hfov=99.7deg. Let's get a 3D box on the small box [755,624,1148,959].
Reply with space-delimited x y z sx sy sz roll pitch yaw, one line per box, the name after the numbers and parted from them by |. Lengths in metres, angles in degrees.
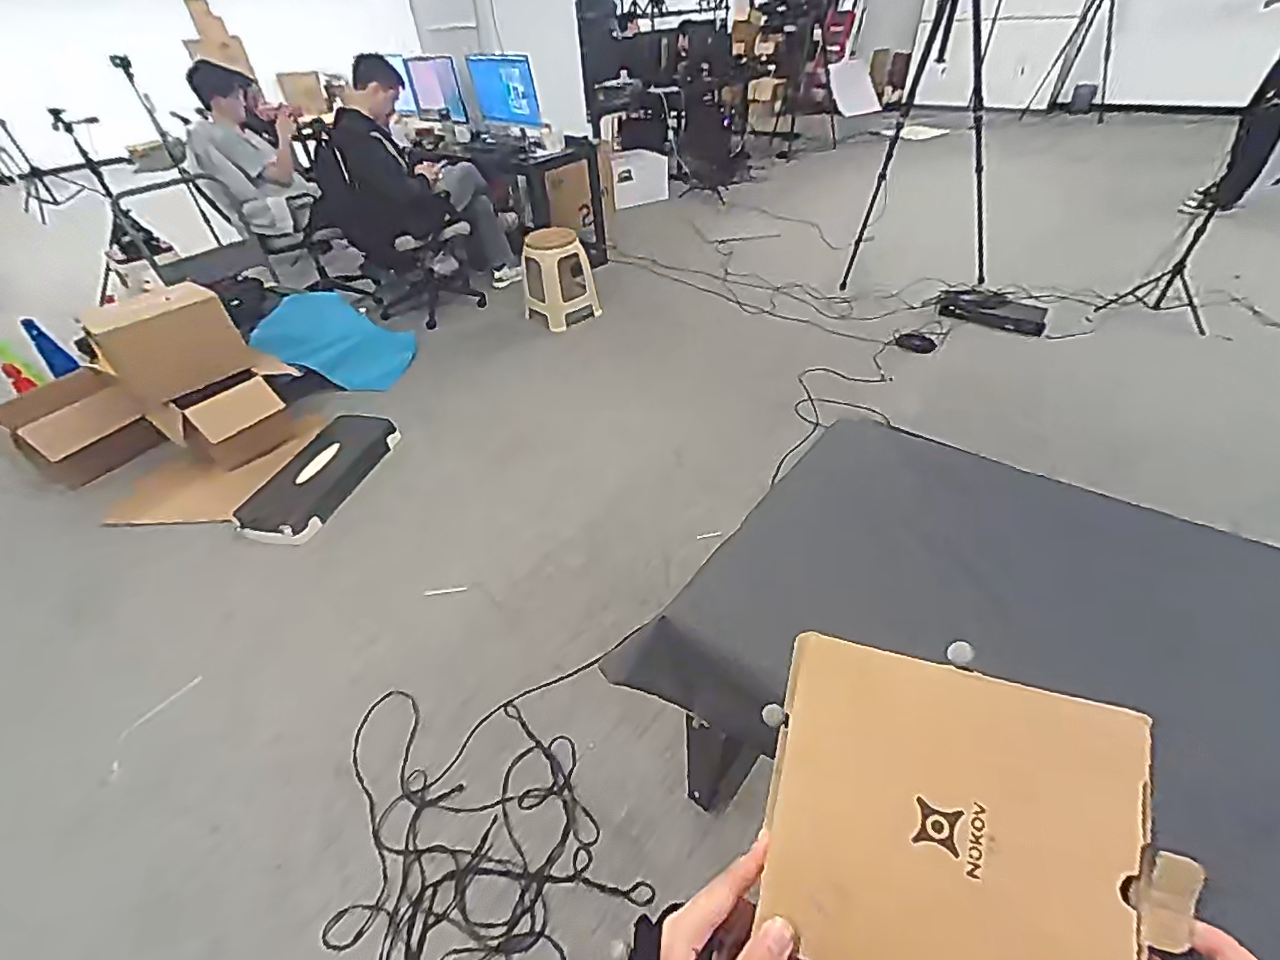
0.180 0.203 0.359 0.179 0.176 0.168 10 75 16 | small box
